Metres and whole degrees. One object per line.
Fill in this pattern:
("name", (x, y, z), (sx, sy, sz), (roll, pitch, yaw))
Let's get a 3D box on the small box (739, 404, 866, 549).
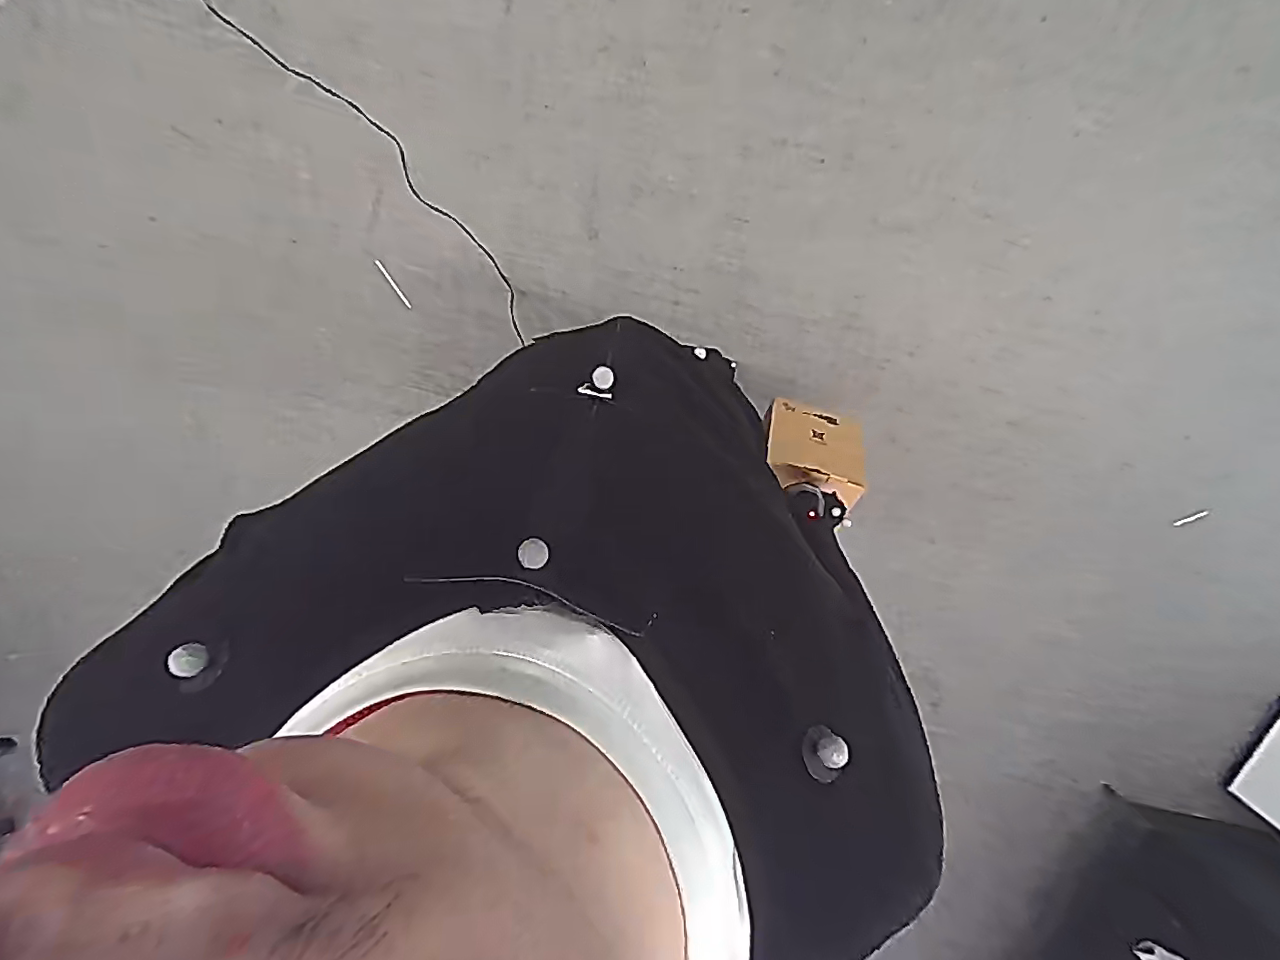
("small box", (0.281, -0.003, 0.964), (0.168, 0.179, 0.176), (15, 134, 2))
